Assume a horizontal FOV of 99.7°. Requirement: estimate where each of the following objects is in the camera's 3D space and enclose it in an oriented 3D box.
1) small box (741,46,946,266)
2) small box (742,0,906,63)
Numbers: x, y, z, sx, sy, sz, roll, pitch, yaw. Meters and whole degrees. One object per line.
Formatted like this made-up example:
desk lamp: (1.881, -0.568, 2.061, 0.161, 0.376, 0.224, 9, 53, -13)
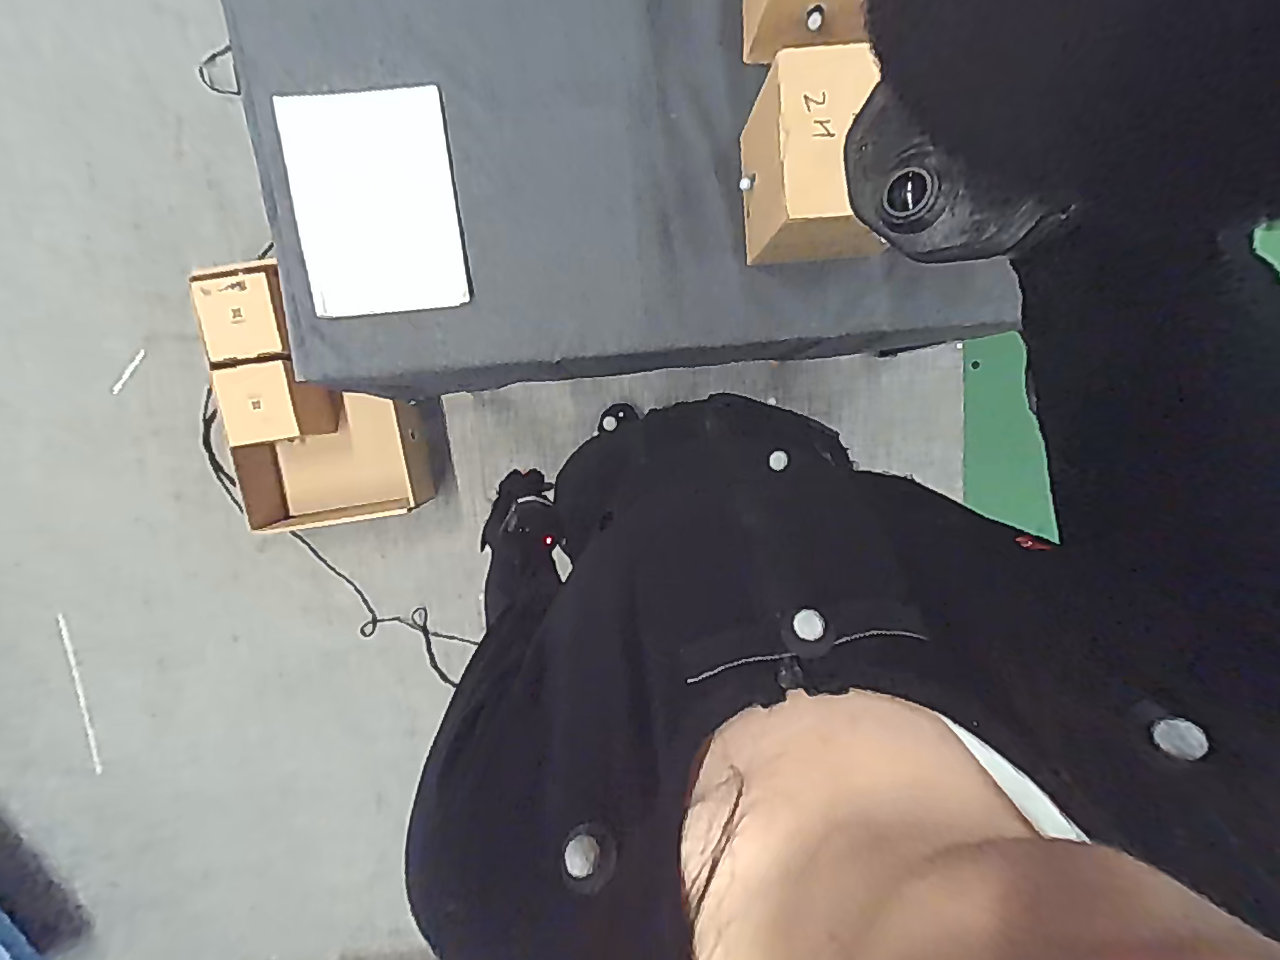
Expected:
small box: (0.225, -0.361, 0.633, 0.179, 0.176, 0.168, -4, 96, -1)
small box: (0.214, -0.605, 0.608, 0.168, 0.176, 0.179, -2, 96, -2)
